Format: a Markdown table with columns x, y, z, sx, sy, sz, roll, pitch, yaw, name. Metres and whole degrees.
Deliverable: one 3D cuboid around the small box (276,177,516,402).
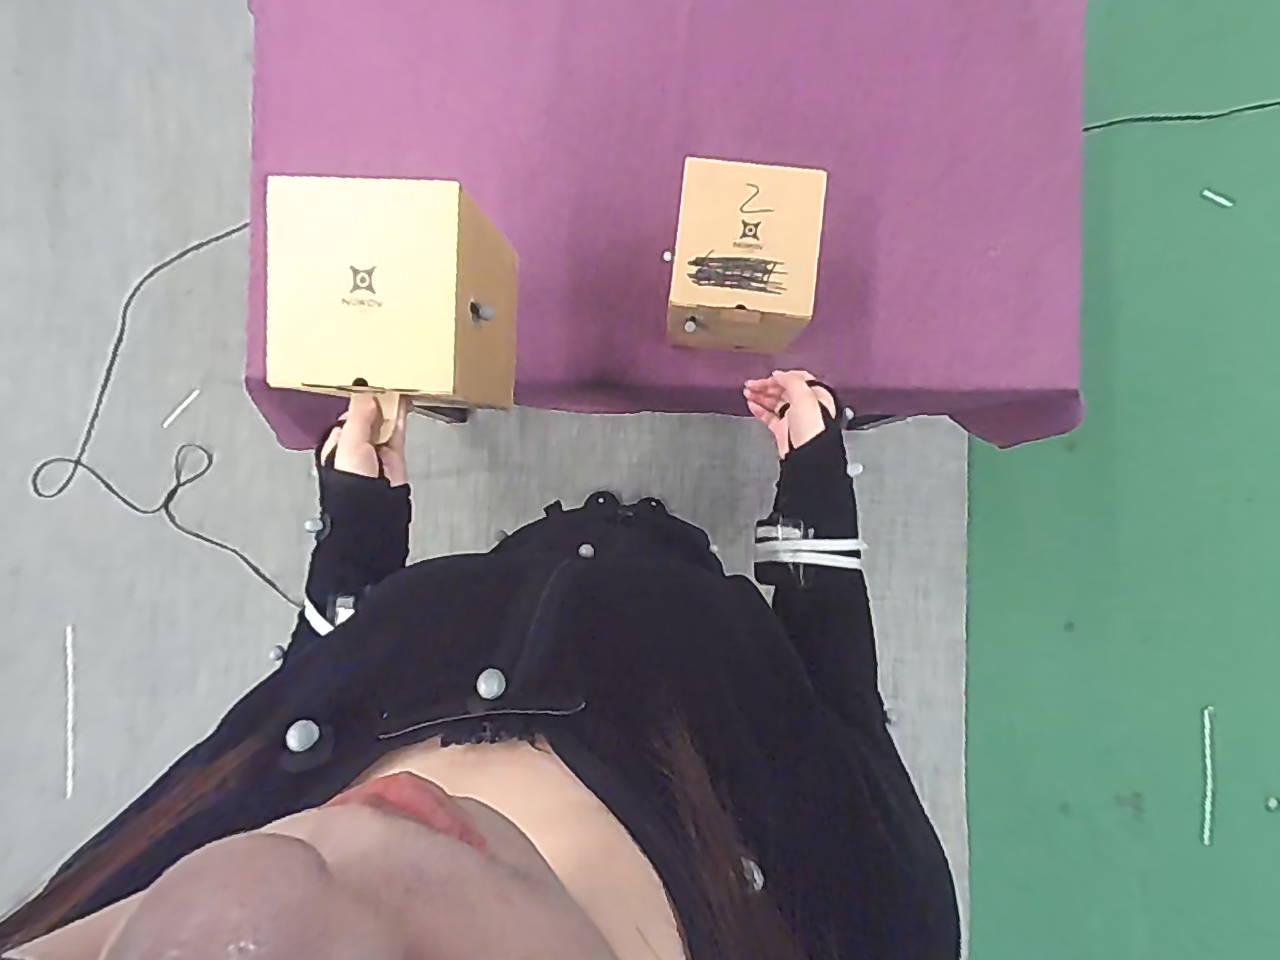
| x | y | z | sx | sy | sz | roll | pitch | yaw | name |
| --- | --- | --- | --- | --- | --- | --- | --- | --- | --- |
| -0.230 | -0.176 | 0.547 | 0.168 | 0.176 | 0.179 | 3 | 95 | 3 | small box |
